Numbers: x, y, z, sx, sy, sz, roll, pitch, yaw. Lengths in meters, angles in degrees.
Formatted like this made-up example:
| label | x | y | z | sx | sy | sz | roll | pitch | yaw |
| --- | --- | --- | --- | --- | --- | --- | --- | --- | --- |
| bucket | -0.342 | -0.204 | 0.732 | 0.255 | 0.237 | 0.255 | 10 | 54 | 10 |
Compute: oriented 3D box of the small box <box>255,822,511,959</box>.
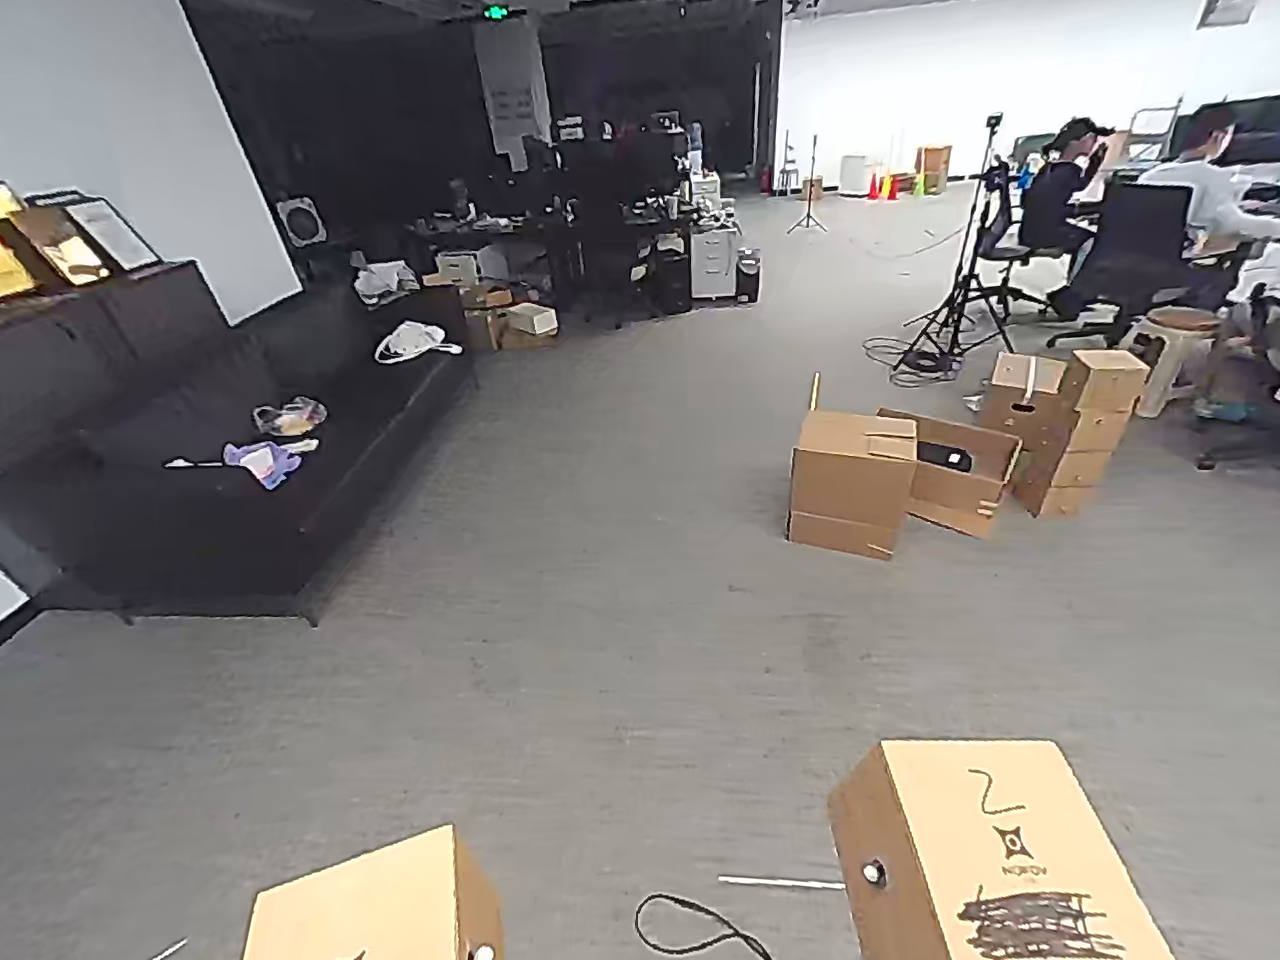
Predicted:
| label | x | y | z | sx | sy | sz | roll | pitch | yaw |
| --- | --- | --- | --- | --- | --- | --- | --- | --- | --- |
| small box | -0.208 | 0.440 | 0.460 | 0.168 | 0.176 | 0.179 | -14 | 39 | -10 |
